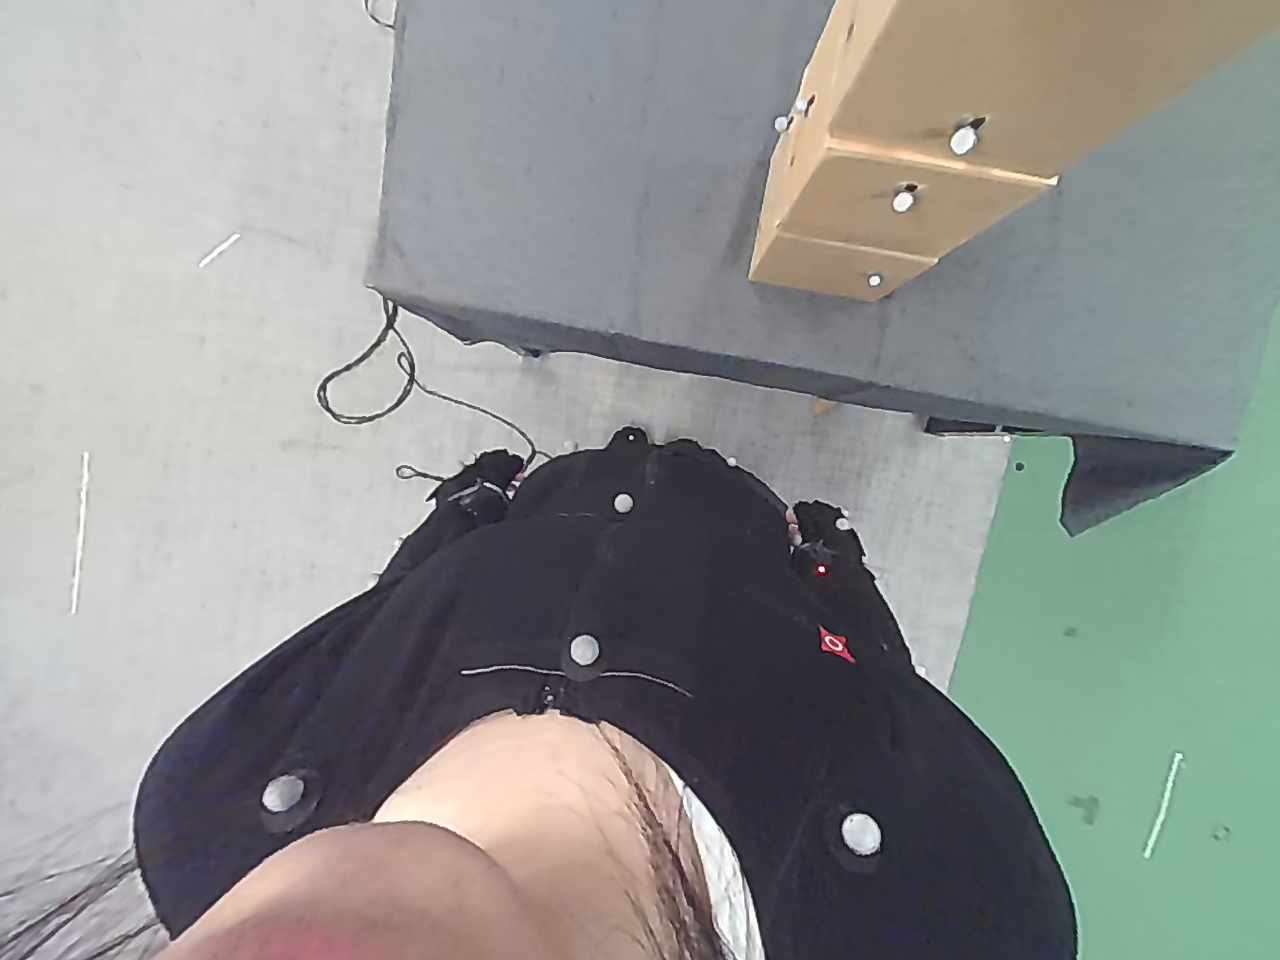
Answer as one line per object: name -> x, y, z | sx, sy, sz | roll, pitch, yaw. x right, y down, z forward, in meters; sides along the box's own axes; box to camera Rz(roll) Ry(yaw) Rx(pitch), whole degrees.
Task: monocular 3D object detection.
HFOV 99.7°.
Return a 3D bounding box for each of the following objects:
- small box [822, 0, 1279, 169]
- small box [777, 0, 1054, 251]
small box -> 0.233, -0.316, 0.320 | 0.179, 0.176, 0.168 | 12, 94, 0
small box -> 0.239, -0.322, 0.483 | 0.179, 0.176, 0.168 | 10, 95, 1
